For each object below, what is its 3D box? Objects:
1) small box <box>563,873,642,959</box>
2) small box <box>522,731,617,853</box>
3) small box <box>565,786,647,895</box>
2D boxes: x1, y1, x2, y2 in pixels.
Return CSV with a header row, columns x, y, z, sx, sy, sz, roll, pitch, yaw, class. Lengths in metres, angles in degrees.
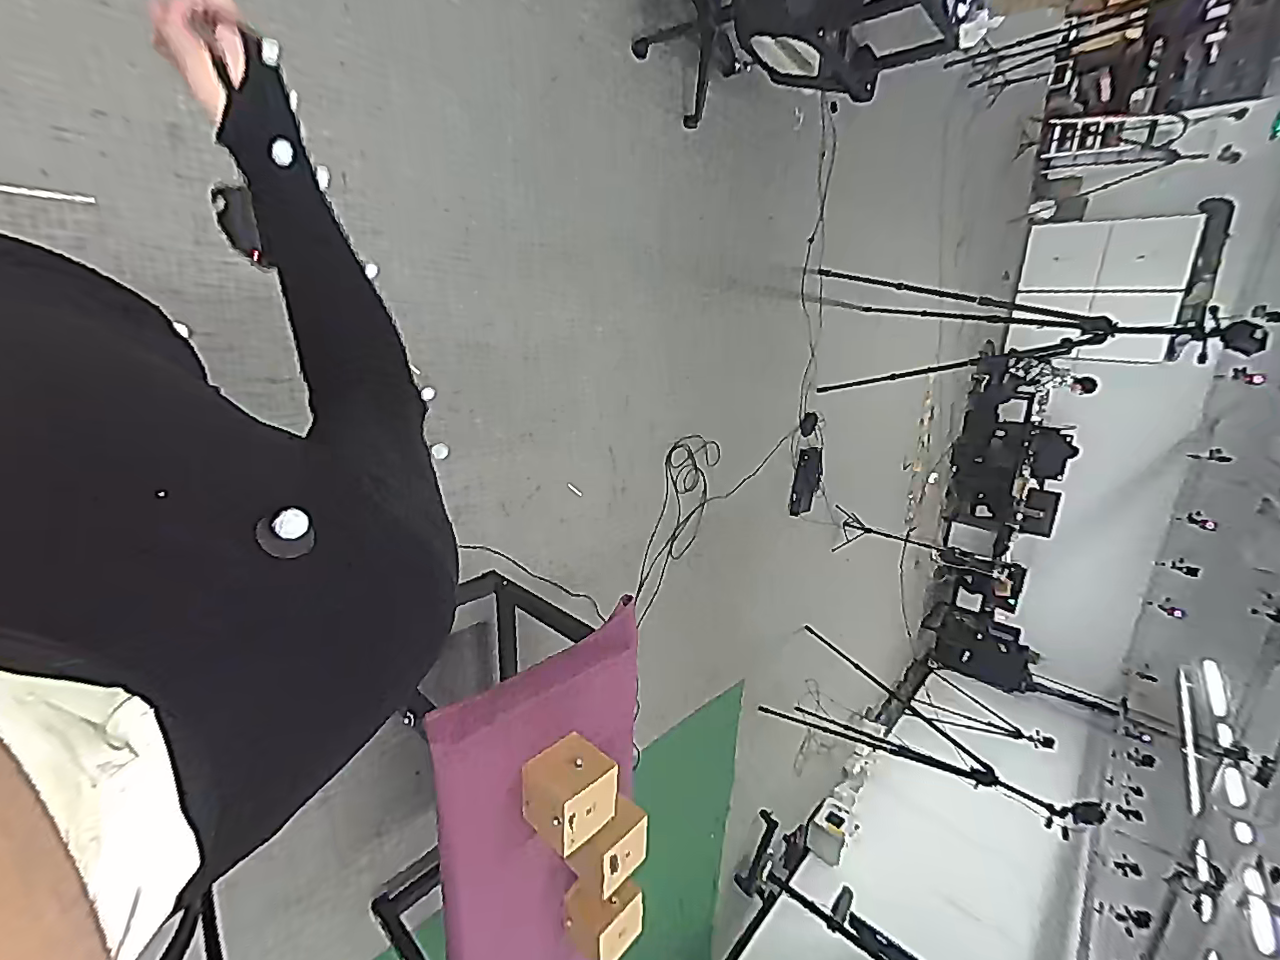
x,y,z,sx,sy,sz,roll,pitch,yaw,class
-0.112,1.286,1.622,0.179,0.176,0.168,-16,113,-45,small box
-0.180,0.781,1.378,0.179,0.176,0.168,-14,113,-46,small box
-0.101,1.012,1.545,0.179,0.176,0.168,-16,114,-46,small box
